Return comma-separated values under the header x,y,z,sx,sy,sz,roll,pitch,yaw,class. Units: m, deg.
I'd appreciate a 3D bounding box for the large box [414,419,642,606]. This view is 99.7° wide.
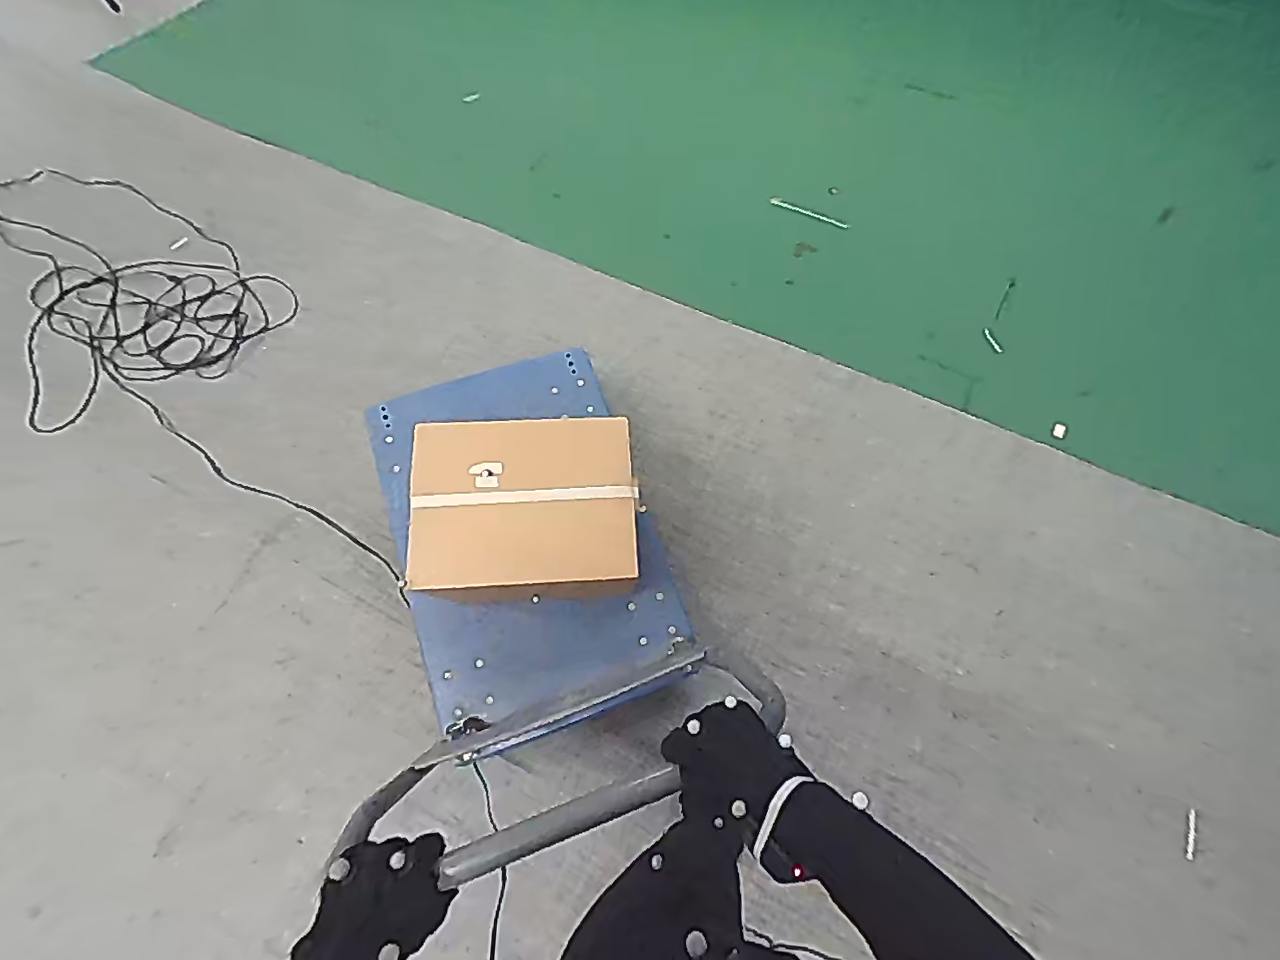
x,y,z,sx,sy,sz,roll,pitch,yaw,class
-0.212,0.085,1.130,0.408,0.320,0.320,-4,73,-3,large box
